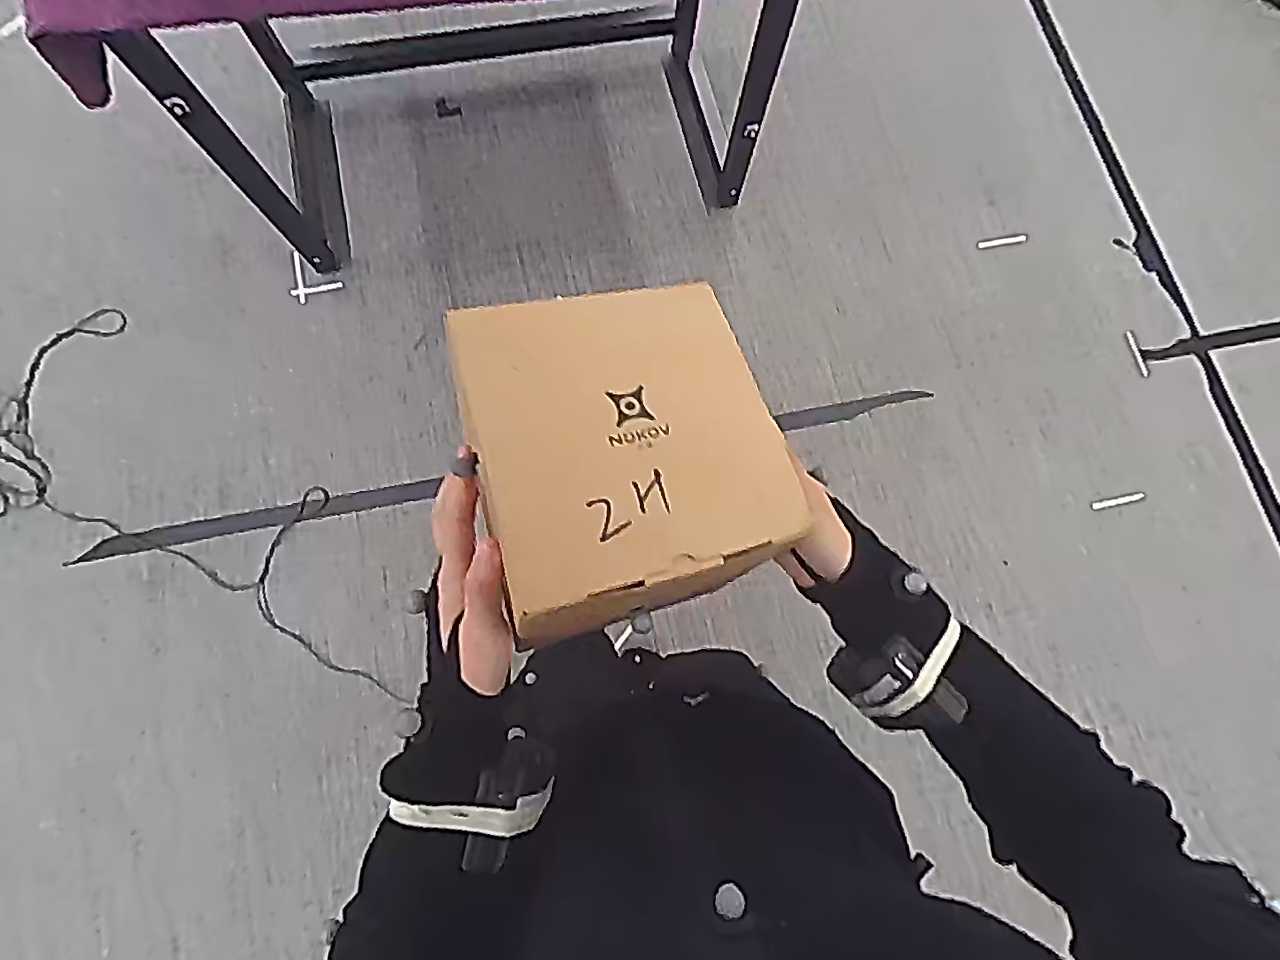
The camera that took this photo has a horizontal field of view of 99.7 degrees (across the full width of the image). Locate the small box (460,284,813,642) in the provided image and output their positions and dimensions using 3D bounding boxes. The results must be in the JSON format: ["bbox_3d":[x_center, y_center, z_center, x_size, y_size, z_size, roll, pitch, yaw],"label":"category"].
[{"bbox_3d":[-0.021,-0.004,0.373,0.168,0.176,0.179,-12,70,-18],"label":"small box"}]
